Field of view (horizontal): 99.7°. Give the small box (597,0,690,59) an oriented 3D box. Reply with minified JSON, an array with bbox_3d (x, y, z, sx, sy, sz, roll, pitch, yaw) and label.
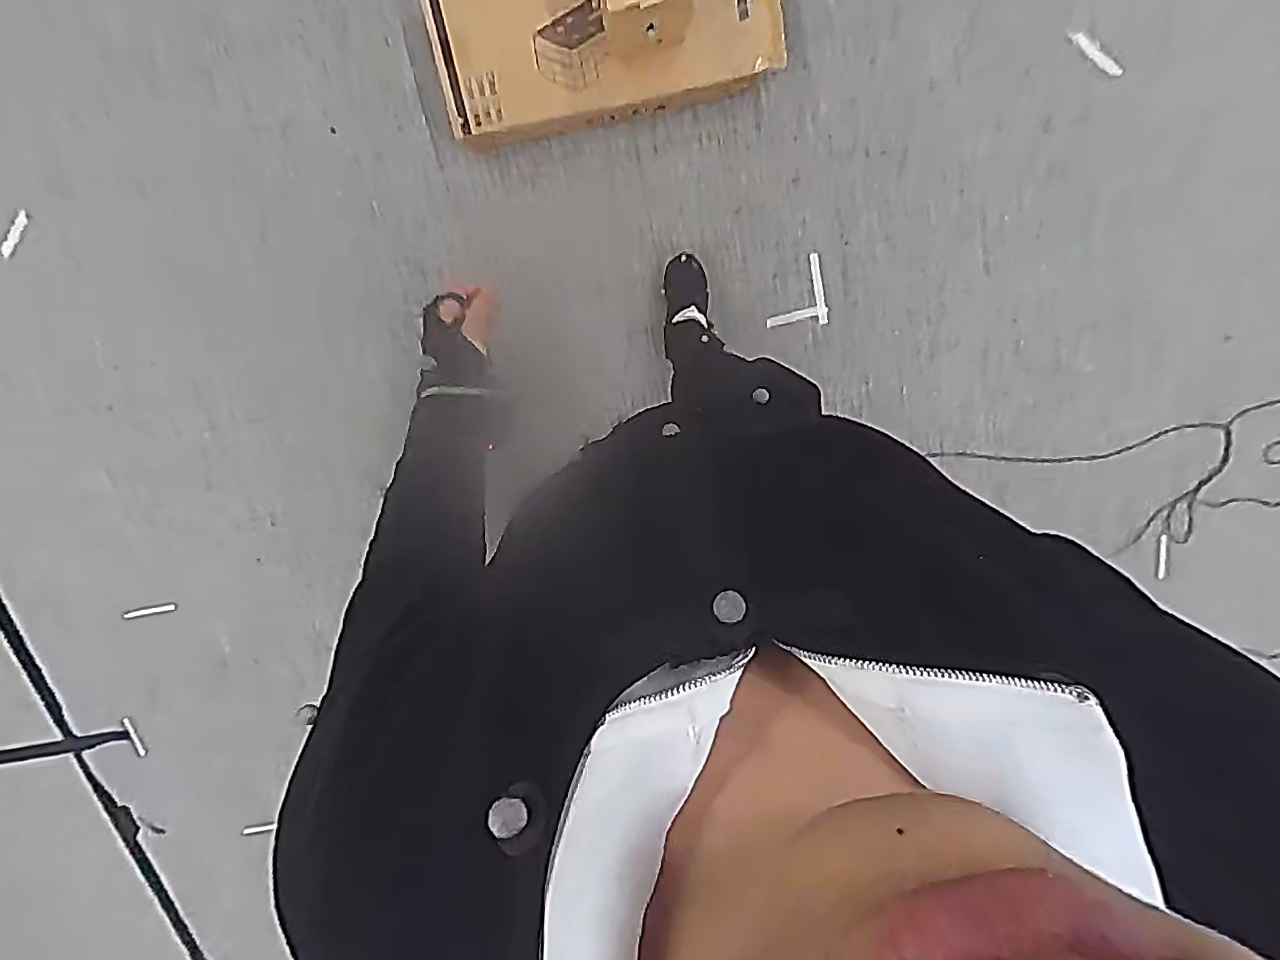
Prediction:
[{"bbox_3d":[-0.003,-0.967,1.056,0.168,0.176,0.179,-14,104,3],"label":"small box"}]
